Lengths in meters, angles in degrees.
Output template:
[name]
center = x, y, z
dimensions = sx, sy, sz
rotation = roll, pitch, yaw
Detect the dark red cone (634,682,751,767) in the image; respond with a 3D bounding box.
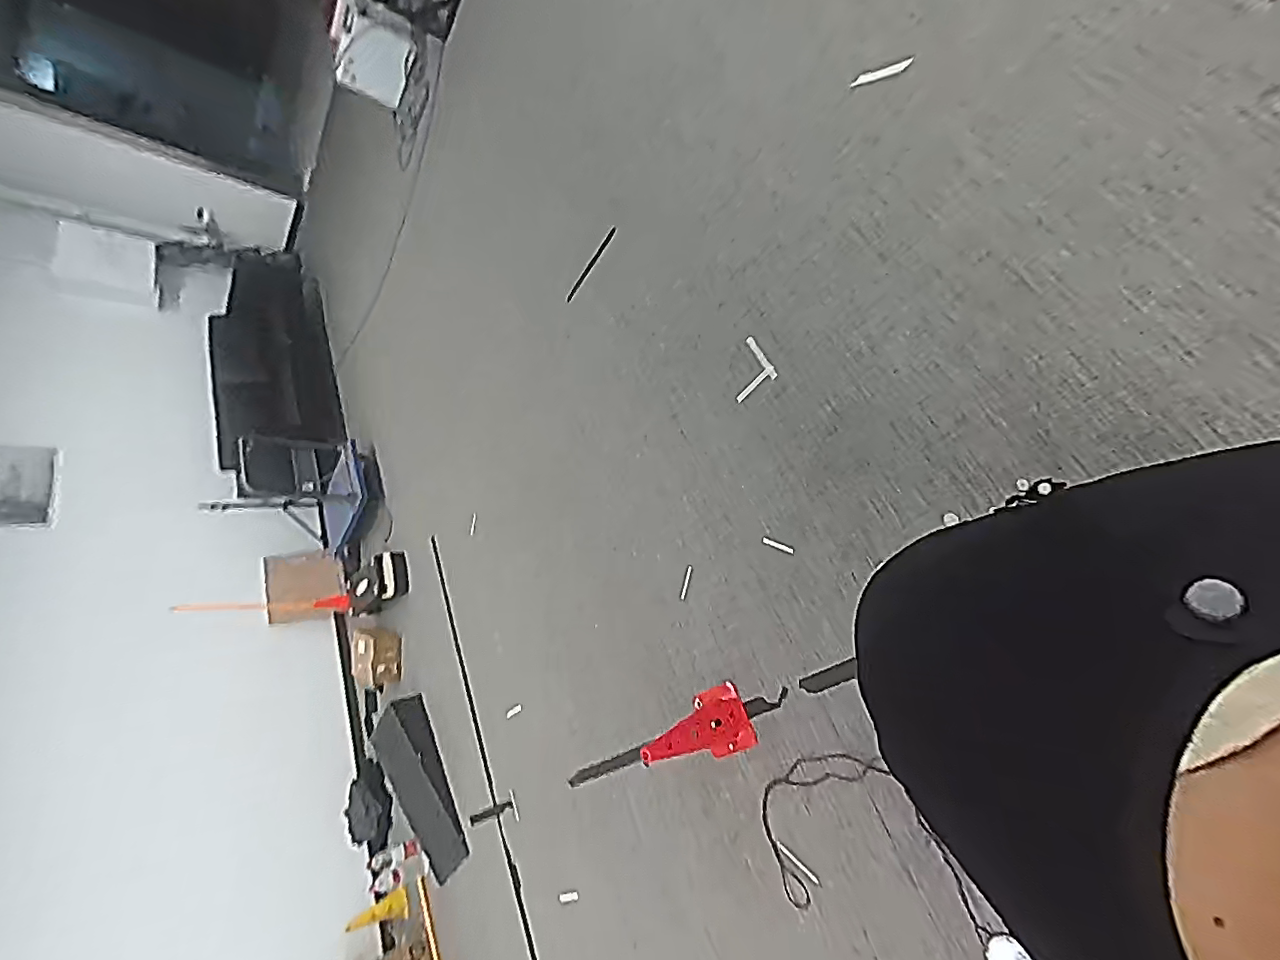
[dark red cone]
center = 0.131, 0.761, 1.602
dimensions = 0.202, 0.394, 0.201
rotation = -43, 60, 36
